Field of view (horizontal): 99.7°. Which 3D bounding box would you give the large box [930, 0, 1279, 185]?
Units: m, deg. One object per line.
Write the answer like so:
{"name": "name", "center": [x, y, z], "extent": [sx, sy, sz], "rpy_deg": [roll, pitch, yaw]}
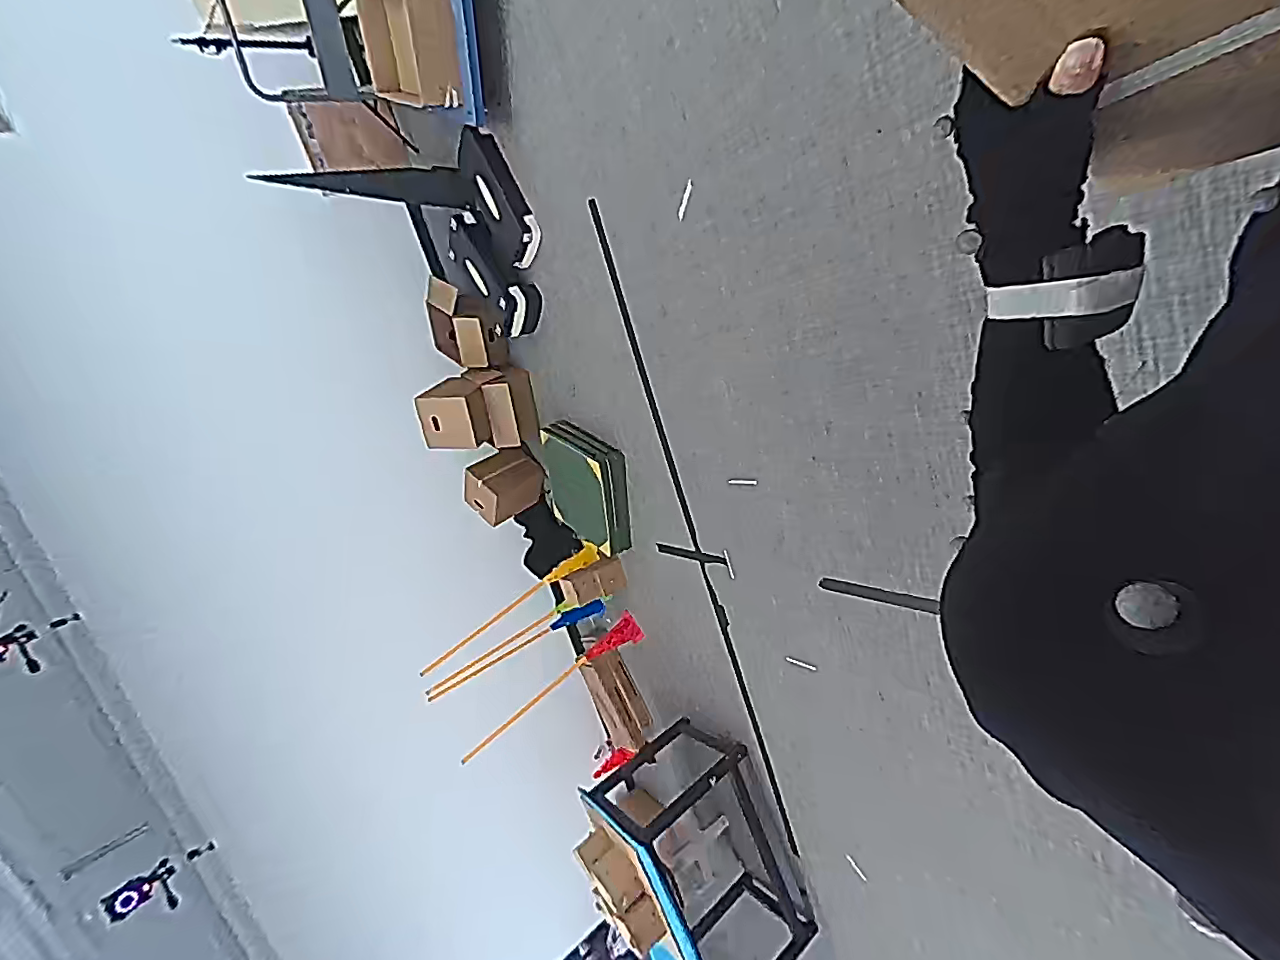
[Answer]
{"name": "large box", "center": [0.342, -0.365, 0.152], "extent": [0.408, 0.320, 0.320], "rpy_deg": [2, 92, 55]}
